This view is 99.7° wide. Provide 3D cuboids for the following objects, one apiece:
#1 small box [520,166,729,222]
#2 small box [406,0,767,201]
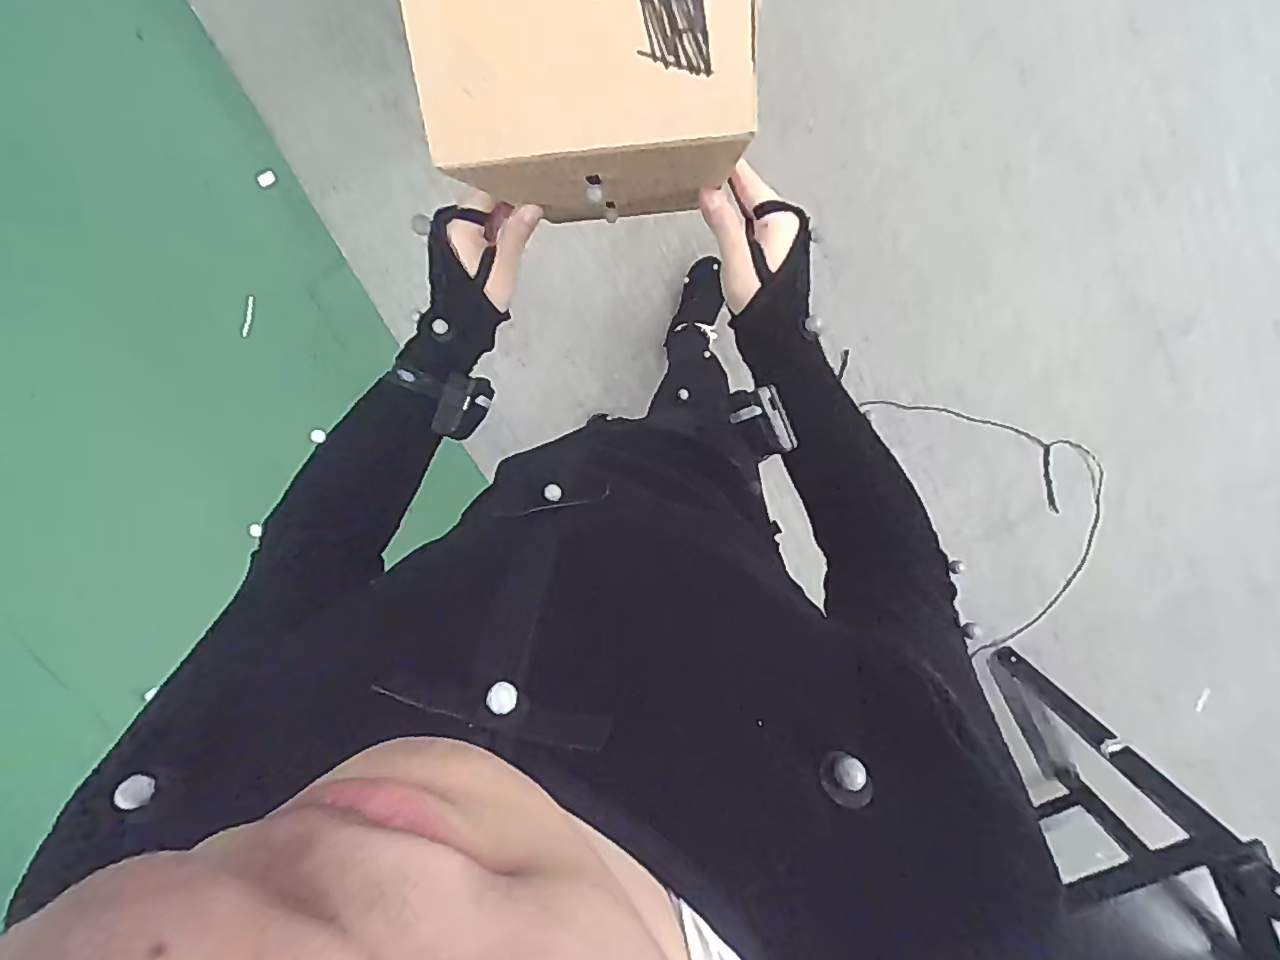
[{"bbox_3d":[-0.017,-0.334,0.482,0.179,0.176,0.168,-3,110,4],"label":"small box"},{"bbox_3d":[-0.025,-0.277,0.328,0.179,0.176,0.168,-3,110,5],"label":"small box"}]
